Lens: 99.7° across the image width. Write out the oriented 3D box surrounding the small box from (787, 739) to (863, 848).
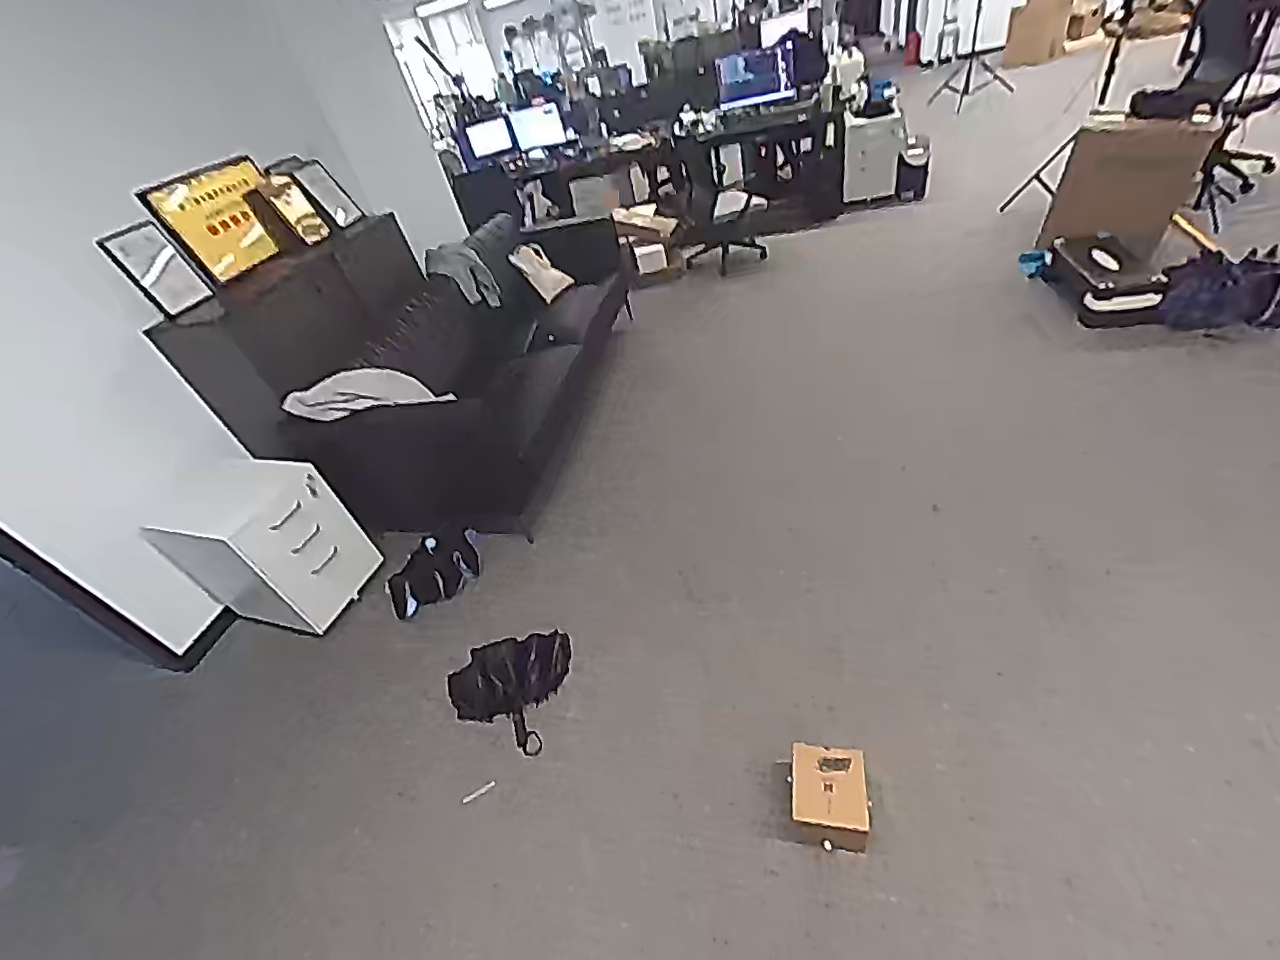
[{"bbox_3d":[0.445,0.762,1.317,0.168,0.176,0.179,-1,44,17],"label":"small box"}]
